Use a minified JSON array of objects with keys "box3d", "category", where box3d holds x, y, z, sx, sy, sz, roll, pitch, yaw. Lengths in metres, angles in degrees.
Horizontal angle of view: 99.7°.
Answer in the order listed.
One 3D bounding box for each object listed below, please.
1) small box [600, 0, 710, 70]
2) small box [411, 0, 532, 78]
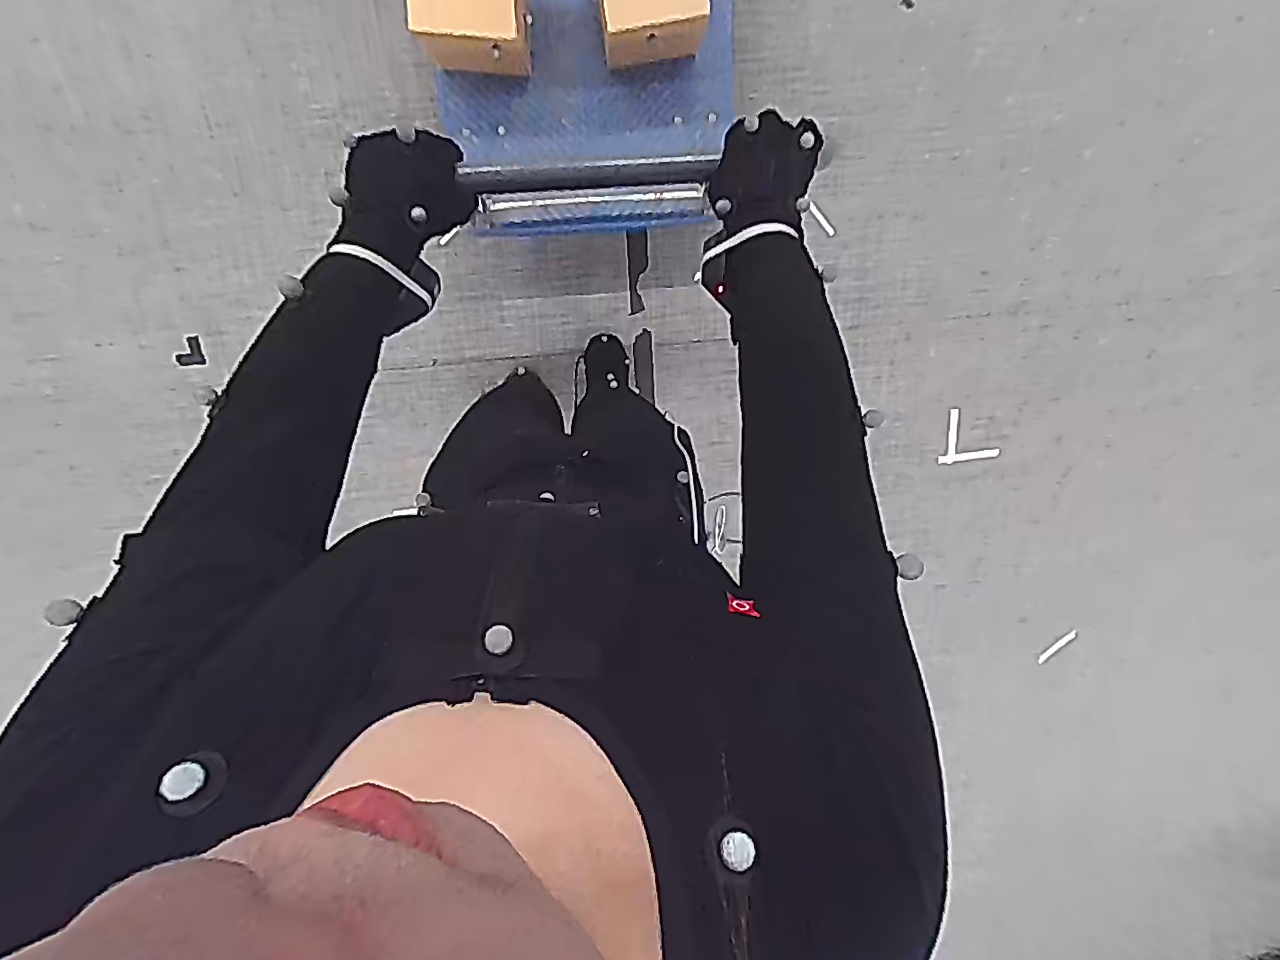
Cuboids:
[{"box3d":[0.017,-0.853,0.947,0.179,0.176,0.168,-10,110,0],"category":"small box"},{"box3d":[-0.286,-0.828,0.938,0.179,0.176,0.168,1,110,-5],"category":"small box"}]
